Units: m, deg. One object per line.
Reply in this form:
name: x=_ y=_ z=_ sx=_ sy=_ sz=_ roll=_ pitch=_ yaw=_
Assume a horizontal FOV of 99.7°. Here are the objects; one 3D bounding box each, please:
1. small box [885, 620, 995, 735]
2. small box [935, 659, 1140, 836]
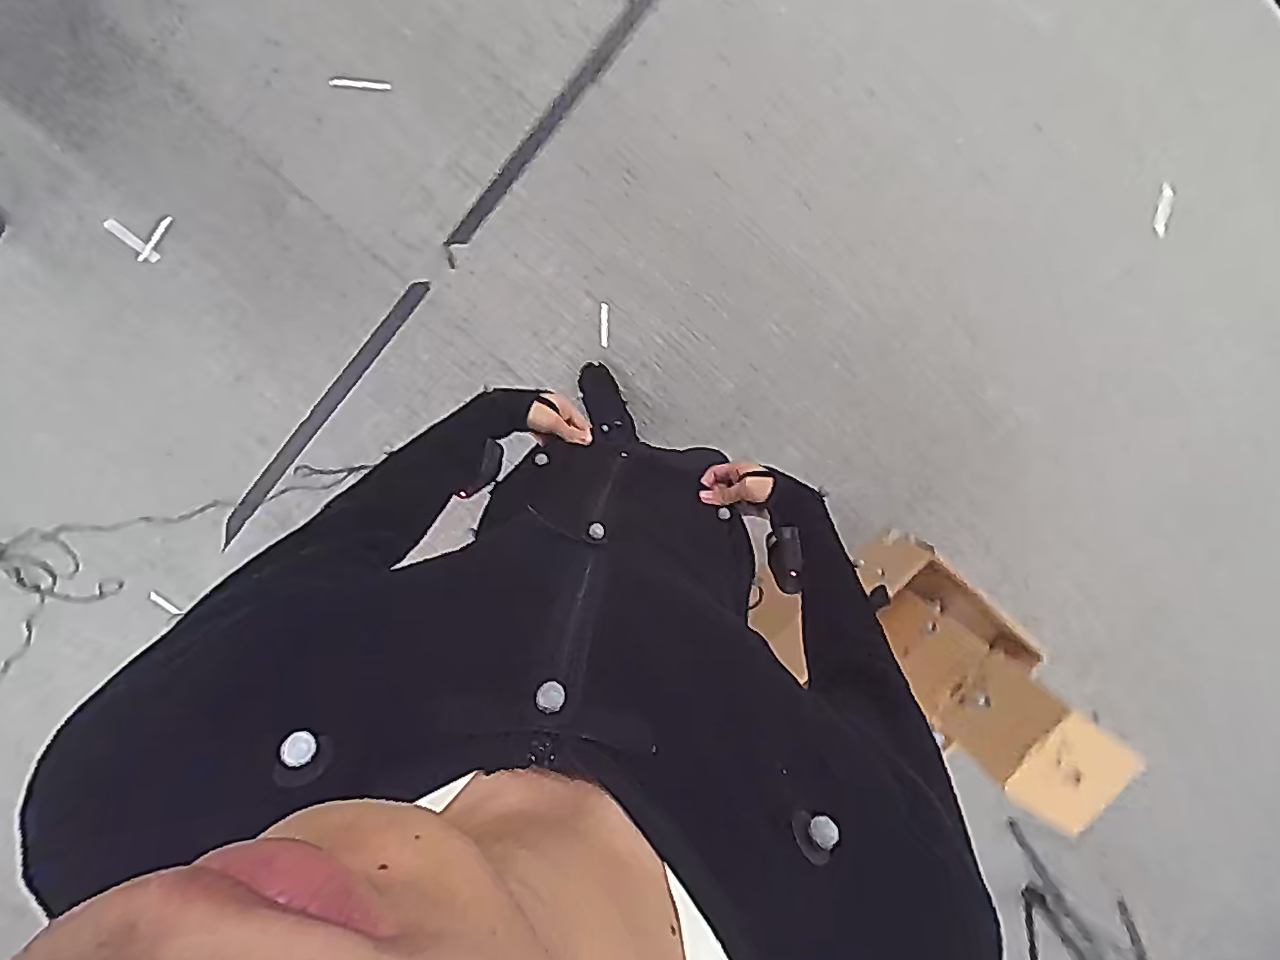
small box: x=0.628 y=0.404 z=1.066 sx=0.179 sy=0.176 sz=0.168 roll=37 pitch=99 yaw=-11
small box: x=0.649 y=0.436 z=0.905 sx=0.179 sy=0.176 sz=0.168 roll=35 pitch=99 yaw=-10
